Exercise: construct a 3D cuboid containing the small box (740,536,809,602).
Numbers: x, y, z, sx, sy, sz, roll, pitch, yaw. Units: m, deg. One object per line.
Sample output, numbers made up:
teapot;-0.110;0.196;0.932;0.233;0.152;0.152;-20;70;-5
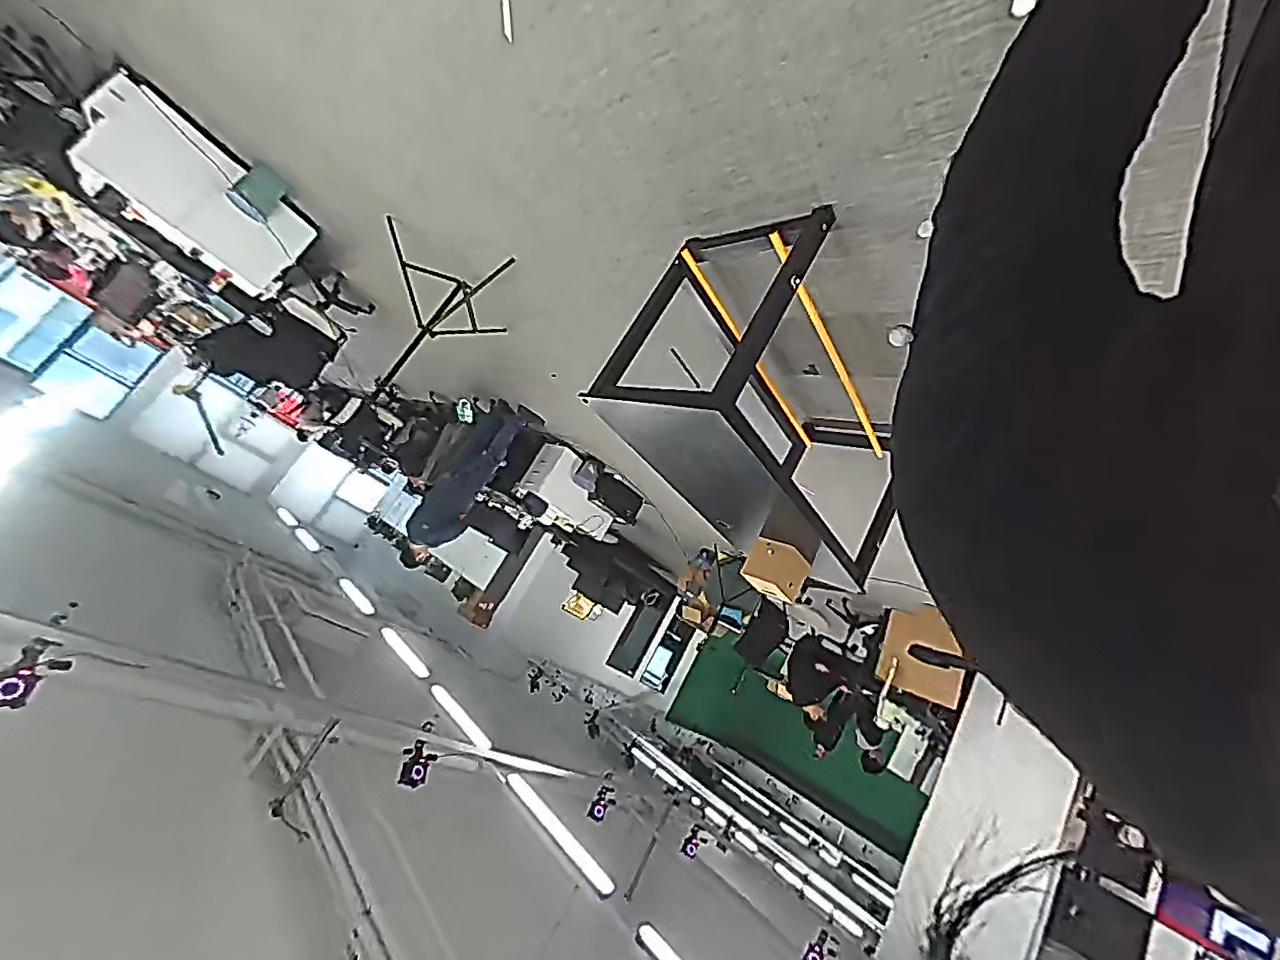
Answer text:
small box;0.528;0.343;2.101;0.168;0.176;0.179;13;157;48
